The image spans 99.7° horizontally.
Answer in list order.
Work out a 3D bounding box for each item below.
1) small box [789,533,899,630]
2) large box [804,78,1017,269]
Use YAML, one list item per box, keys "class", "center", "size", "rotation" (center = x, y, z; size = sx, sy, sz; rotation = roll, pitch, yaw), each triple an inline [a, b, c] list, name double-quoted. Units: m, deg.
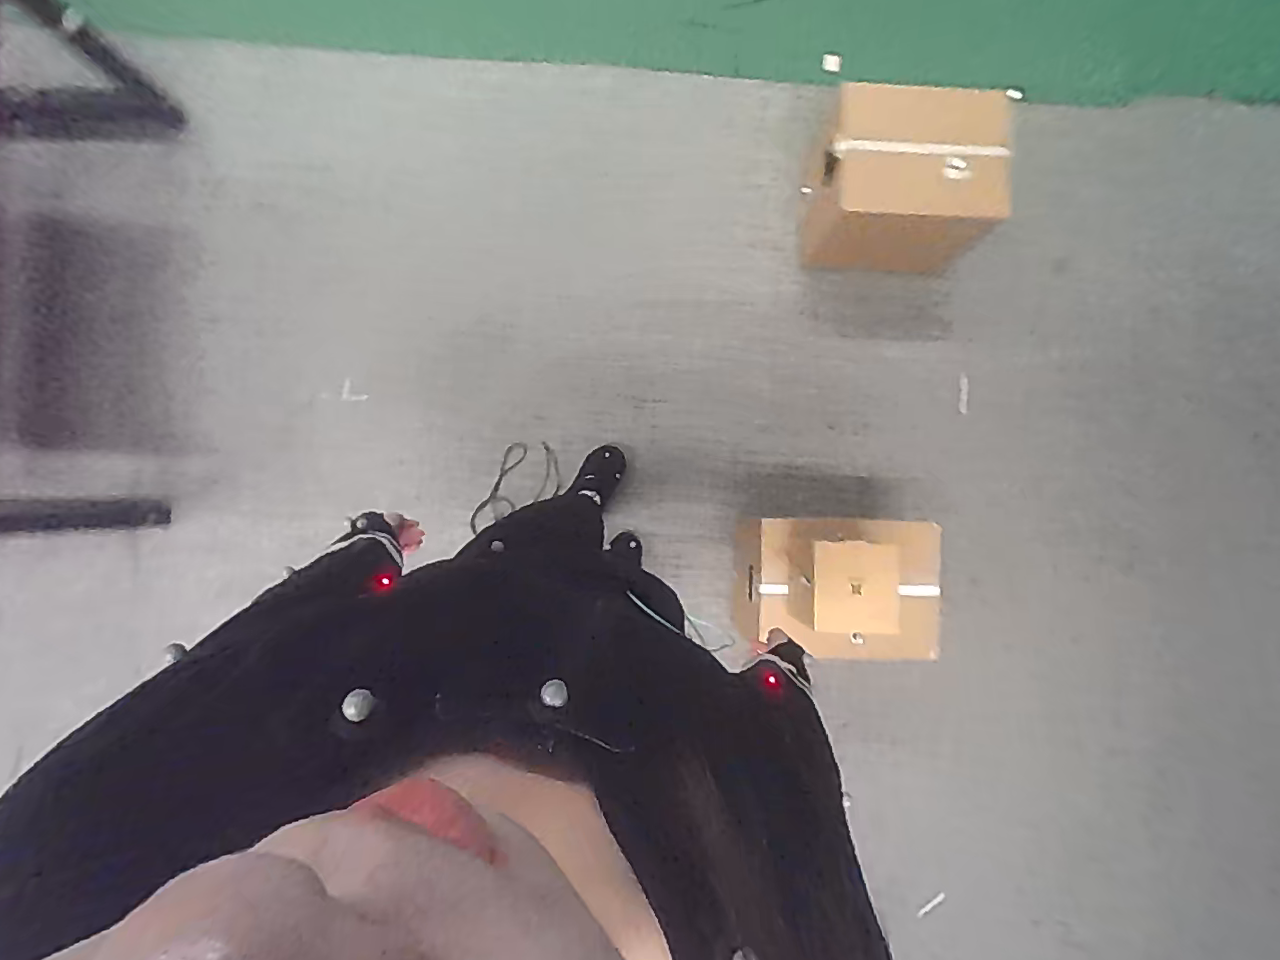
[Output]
- class: "small box"
  center: [0.415, 0.204, 1.120]
  size: [0.168, 0.176, 0.179]
  rotation: [2, 85, -1]
- class: "large box"
  center: [0.670, -0.766, 1.400]
  size: [0.408, 0.320, 0.320]
  rotation: [2, 88, -2]
